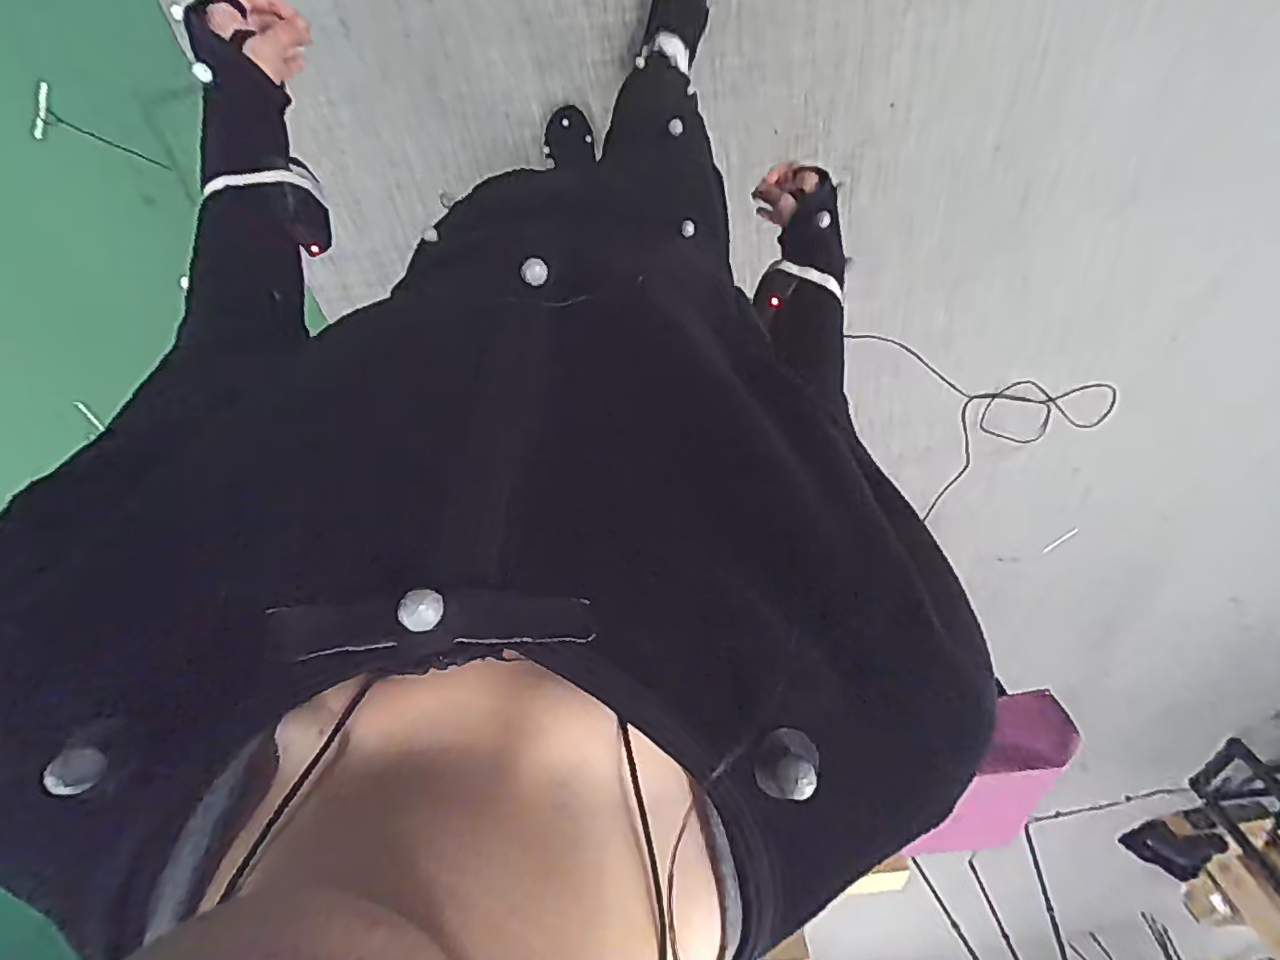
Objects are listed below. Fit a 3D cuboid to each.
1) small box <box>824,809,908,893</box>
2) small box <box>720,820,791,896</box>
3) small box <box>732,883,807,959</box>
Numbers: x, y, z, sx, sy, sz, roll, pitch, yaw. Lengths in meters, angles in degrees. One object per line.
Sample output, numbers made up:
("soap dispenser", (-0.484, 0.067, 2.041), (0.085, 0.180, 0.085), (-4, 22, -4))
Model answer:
("small box", (0.673, 1.115, 1.630), (0.179, 0.176, 0.168), (-7, 128, 3))
("small box", (0.349, 1.158, 1.642), (0.179, 0.176, 0.168), (-11, 127, 4))
("small box", (0.356, 1.256, 1.509), (0.179, 0.176, 0.168), (-10, 128, 4))
